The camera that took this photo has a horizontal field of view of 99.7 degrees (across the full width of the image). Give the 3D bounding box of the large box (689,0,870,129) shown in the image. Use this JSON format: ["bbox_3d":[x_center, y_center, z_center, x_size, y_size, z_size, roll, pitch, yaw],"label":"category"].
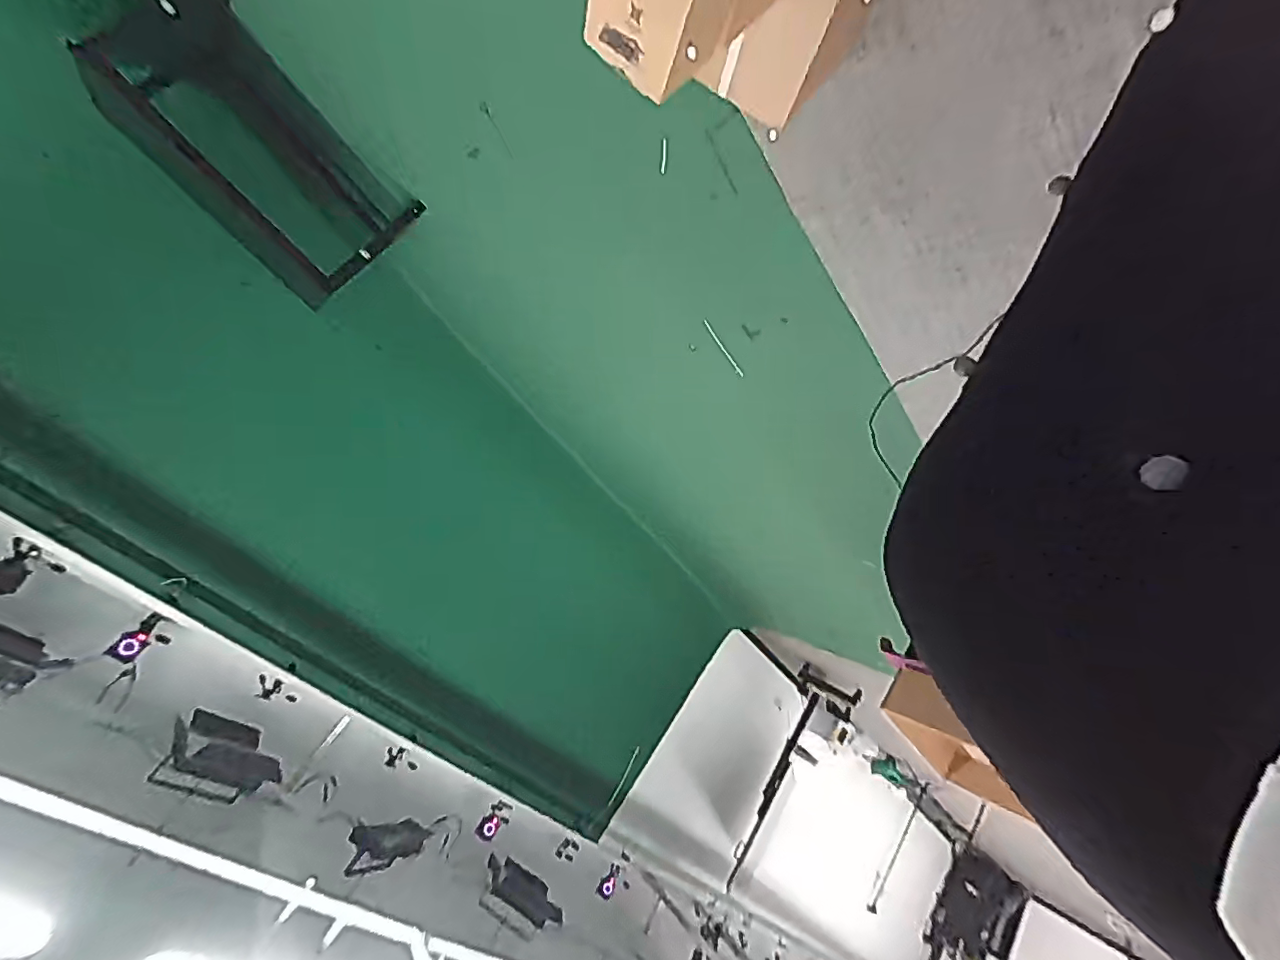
[{"bbox_3d":[0.296,-1.020,1.042,0.320,0.320,0.408,36,162,4],"label":"large box"}]

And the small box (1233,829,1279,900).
[{"bbox_3d":[1.660,1.007,1.342,0.179,0.176,0.168,30,160,20],"label":"small box"}]

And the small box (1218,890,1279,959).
[{"bbox_3d":[1.567,1.132,1.295,0.168,0.176,0.179,31,160,20],"label":"small box"}]

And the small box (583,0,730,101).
[{"bbox_3d":[0.036,-0.759,0.842,0.168,0.176,0.179,38,160,-3],"label":"small box"}]
